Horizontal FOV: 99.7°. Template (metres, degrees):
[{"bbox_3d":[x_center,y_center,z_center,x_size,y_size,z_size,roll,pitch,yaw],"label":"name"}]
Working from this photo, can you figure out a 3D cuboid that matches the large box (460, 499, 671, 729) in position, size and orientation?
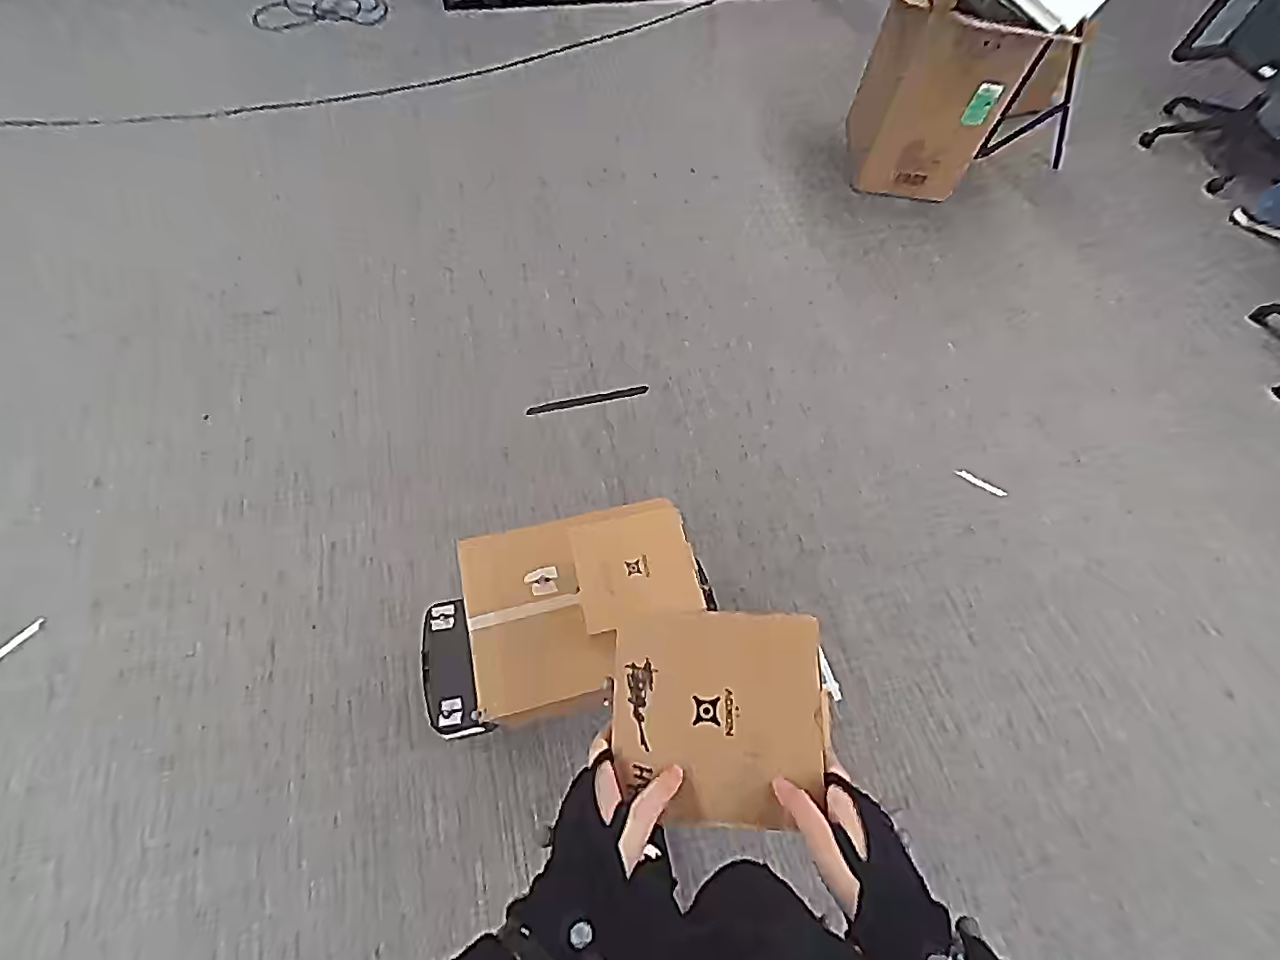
[{"bbox_3d":[-0.100,0.275,1.073,0.408,0.320,0.320,-13,64,-9],"label":"large box"}]

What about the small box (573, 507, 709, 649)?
[{"bbox_3d":[-0.007,0.161,0.861,0.179,0.176,0.168,-10,65,-8],"label":"small box"}]

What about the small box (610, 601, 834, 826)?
[{"bbox_3d":[0.070,0.211,0.518,0.179,0.176,0.168,1,70,4],"label":"small box"}]
